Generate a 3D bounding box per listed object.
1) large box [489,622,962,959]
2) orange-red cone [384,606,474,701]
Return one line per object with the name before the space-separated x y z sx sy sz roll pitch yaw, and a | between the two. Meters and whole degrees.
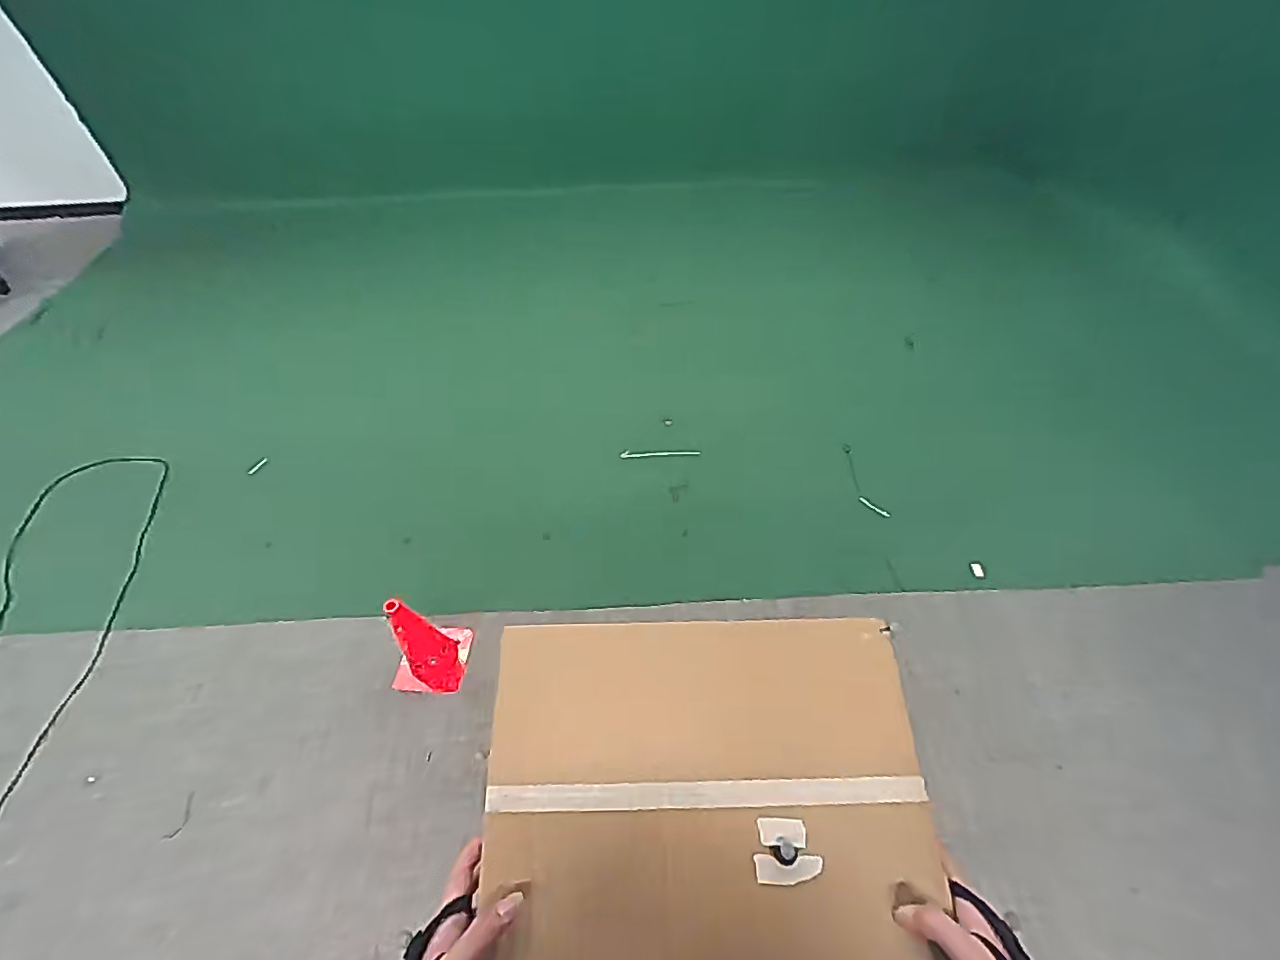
large box | 0.066 0.366 0.640 0.408 0.320 0.320 -2 63 0
orange-red cone | -0.628 0.453 1.507 0.199 0.360 0.198 2 49 6
